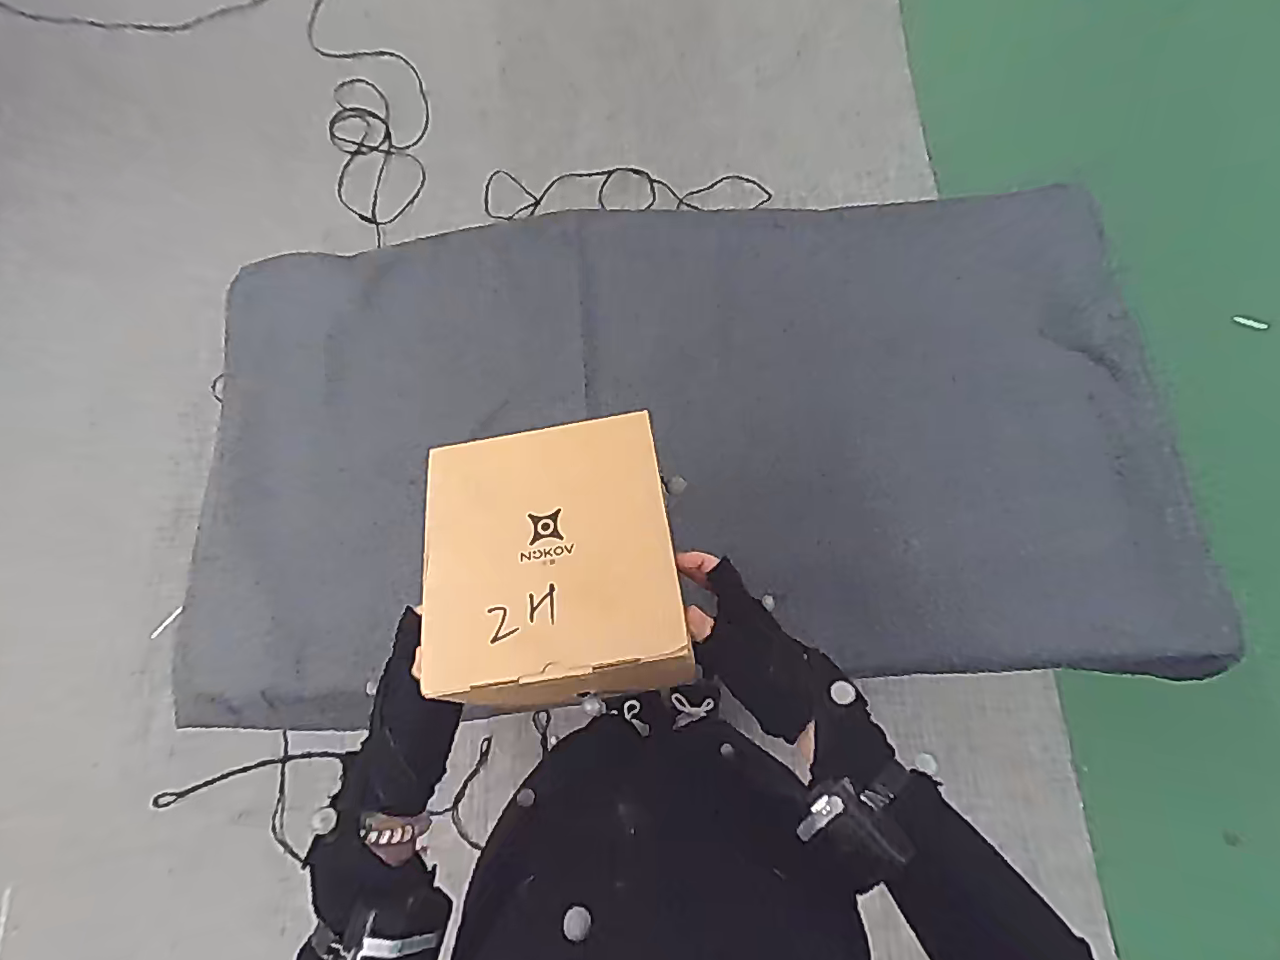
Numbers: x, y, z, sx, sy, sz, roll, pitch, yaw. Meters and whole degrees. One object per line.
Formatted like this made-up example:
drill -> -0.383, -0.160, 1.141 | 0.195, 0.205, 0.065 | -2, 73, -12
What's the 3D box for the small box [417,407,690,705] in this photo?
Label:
small box -> -0.056, 0.070, 0.429 | 0.168, 0.176, 0.179 | -11, 64, 3
